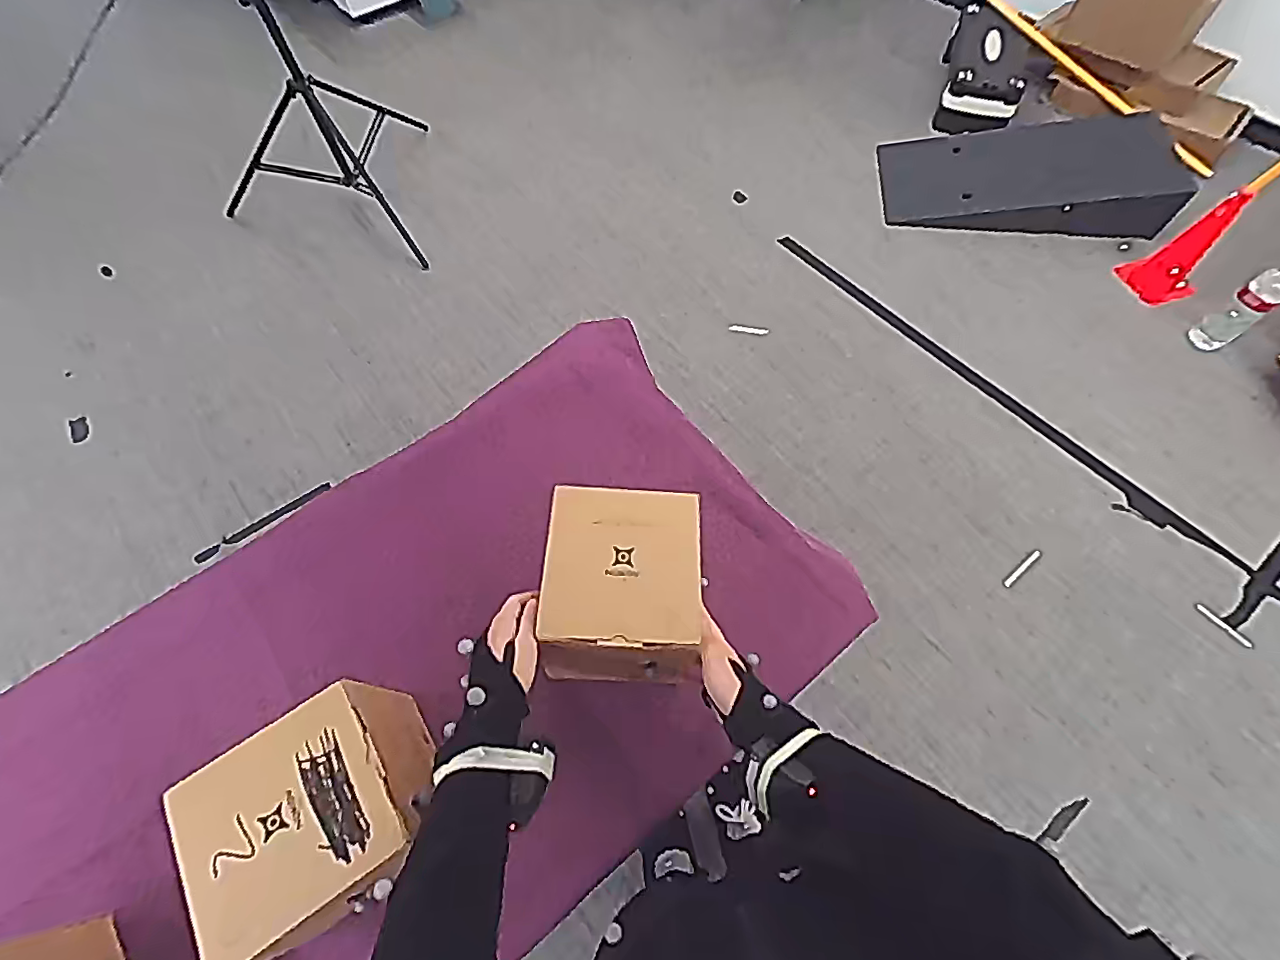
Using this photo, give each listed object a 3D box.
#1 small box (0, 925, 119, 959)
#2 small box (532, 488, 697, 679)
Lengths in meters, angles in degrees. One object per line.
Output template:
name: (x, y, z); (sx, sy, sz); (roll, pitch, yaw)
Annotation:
small box: (-0.578, 0.530, 0.452); (0.179, 0.176, 0.168); (-38, 67, -17)
small box: (-0.026, 0.127, 0.635); (0.168, 0.176, 0.179); (2, 56, -2)
